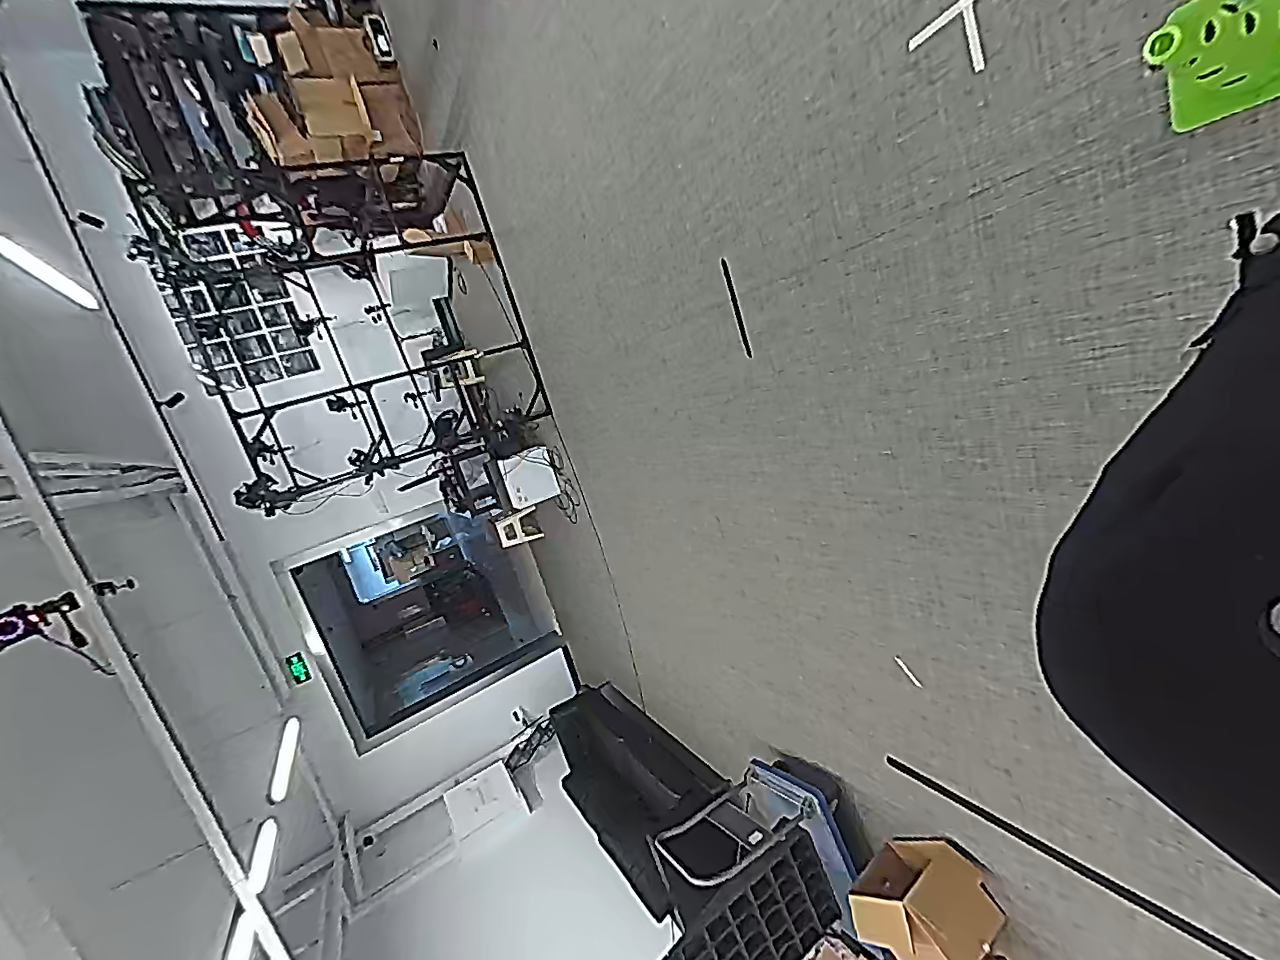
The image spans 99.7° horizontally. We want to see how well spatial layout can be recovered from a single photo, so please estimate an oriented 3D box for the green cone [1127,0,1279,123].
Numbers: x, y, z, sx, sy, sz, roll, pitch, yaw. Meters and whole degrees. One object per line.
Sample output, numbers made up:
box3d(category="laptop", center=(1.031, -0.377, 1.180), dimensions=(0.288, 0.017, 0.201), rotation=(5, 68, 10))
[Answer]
box3d(category="green cone", center=(0.840, -0.665, 0.802), dimensions=(0.202, 0.368, 0.200), rotation=(6, 116, 63))
